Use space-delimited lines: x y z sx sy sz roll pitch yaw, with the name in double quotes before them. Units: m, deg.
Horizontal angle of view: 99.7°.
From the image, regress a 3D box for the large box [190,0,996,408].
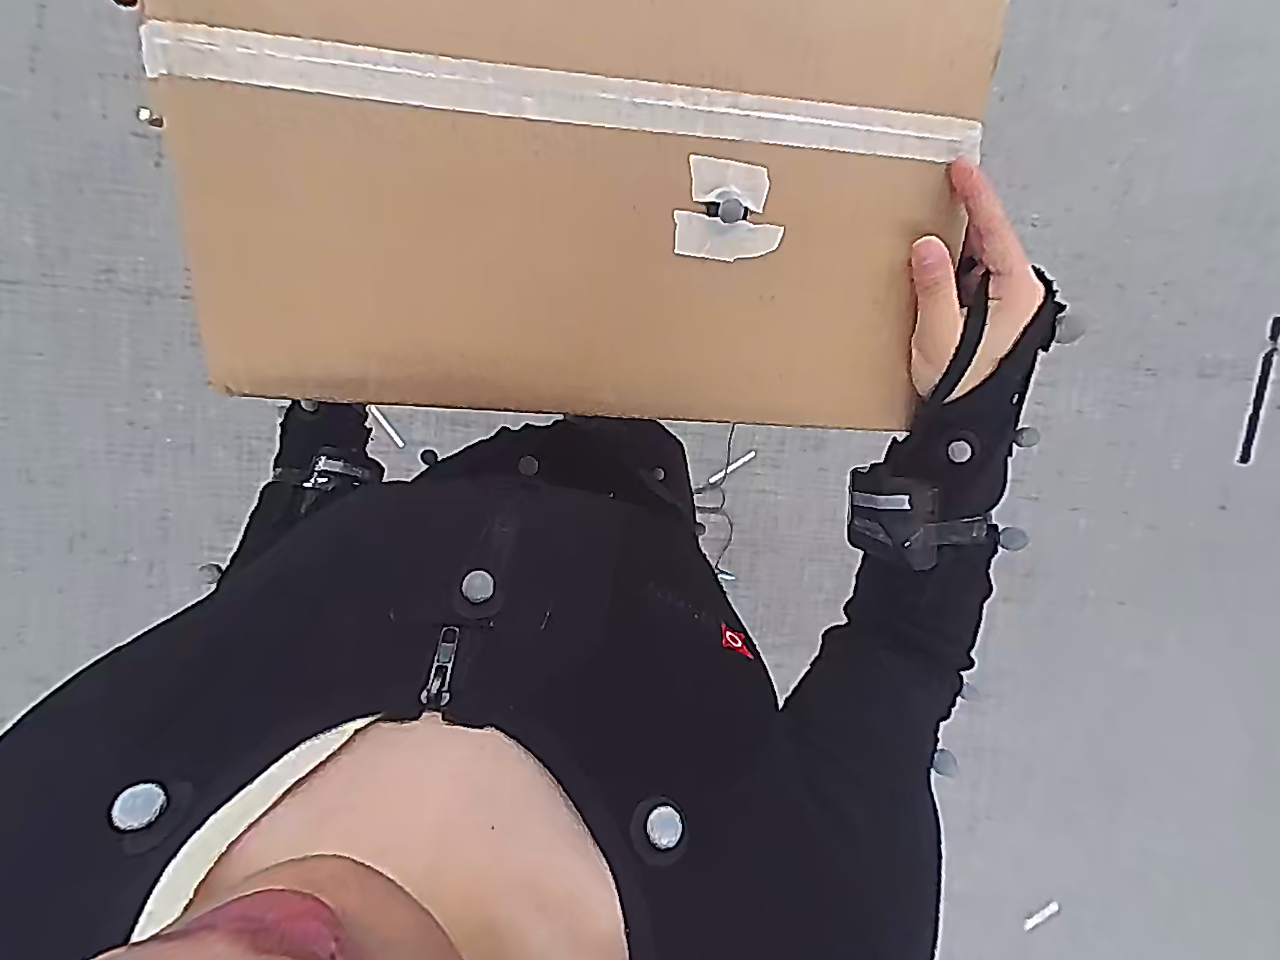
"large box" -0.032 -0.237 0.421 0.408 0.320 0.320 2 107 -8
